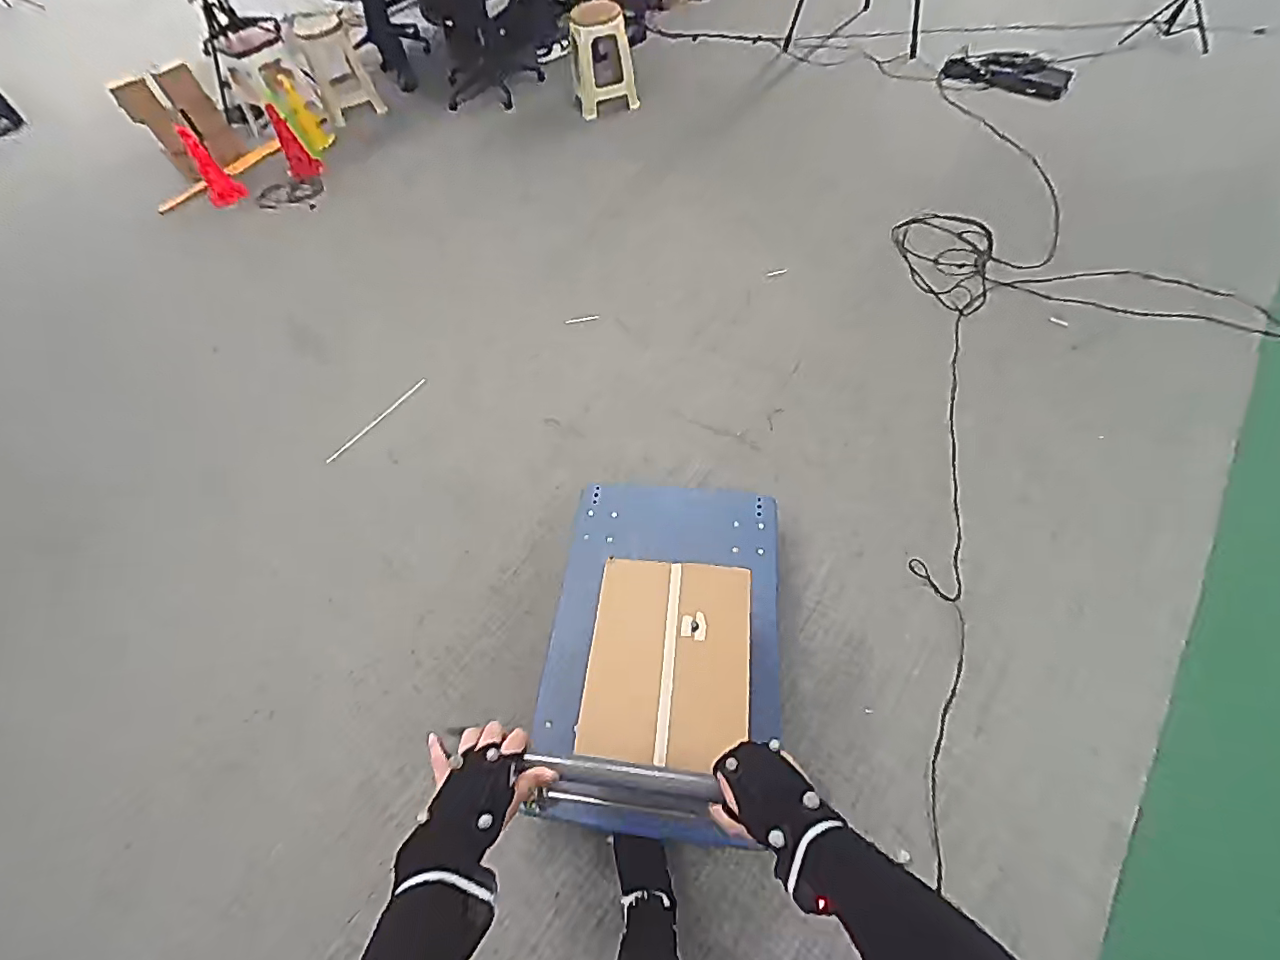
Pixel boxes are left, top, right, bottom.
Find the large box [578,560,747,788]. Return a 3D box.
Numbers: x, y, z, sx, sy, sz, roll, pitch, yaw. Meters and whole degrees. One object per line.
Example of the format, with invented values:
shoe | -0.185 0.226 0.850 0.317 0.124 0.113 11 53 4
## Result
large box | 0.069 0.433 1.202 0.320 0.320 0.408 4 57 7
